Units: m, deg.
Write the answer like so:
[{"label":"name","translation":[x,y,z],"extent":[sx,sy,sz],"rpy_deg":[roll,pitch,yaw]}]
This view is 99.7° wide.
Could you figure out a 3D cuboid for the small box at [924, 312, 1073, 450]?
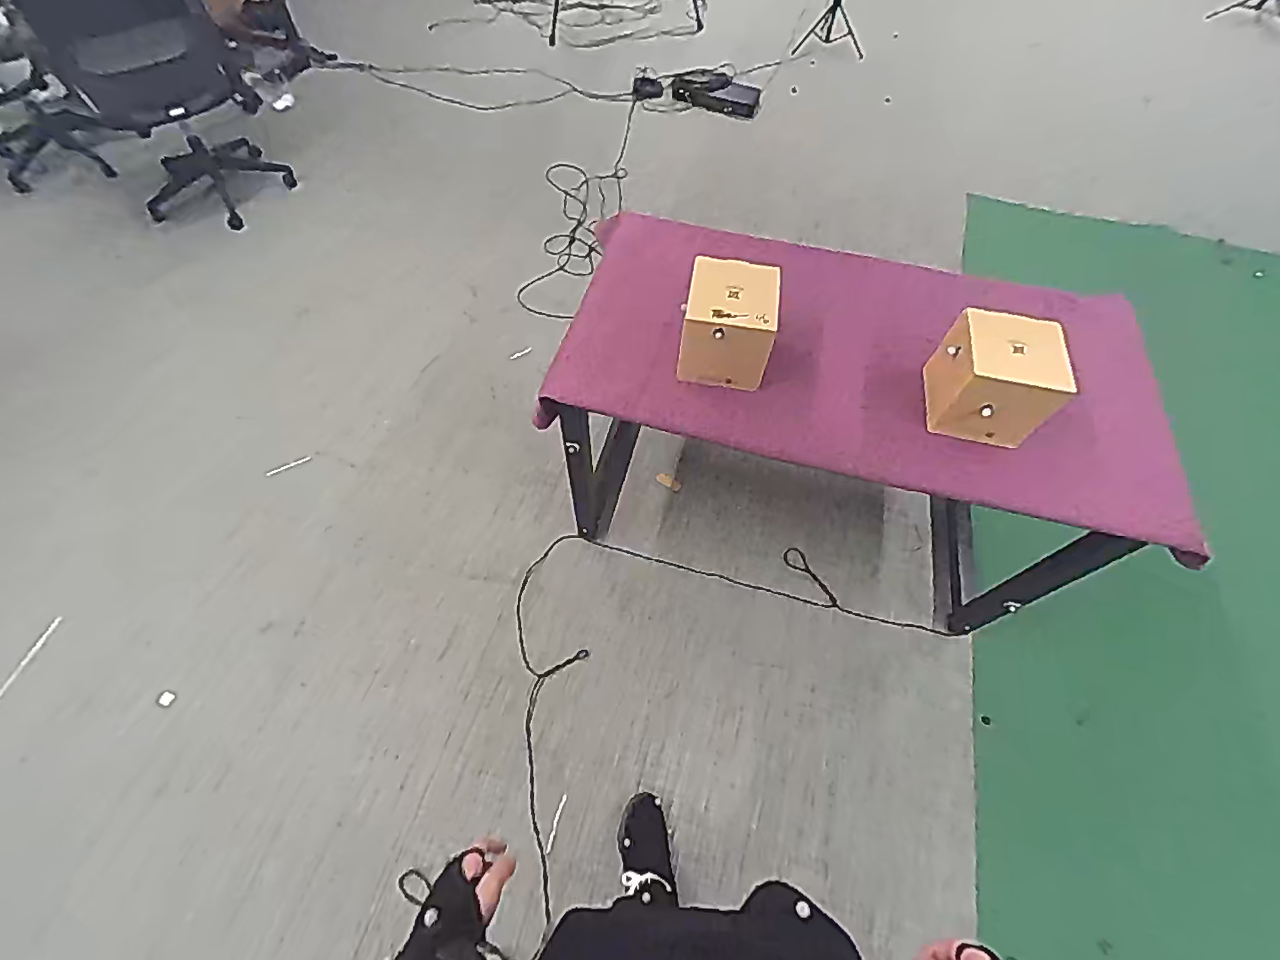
[{"label":"small box","translation":[0.651,-0.180,1.007],"extent":[0.168,0.176,0.179],"rpy_deg":[12,58,6]}]

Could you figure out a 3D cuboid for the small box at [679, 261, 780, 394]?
[{"label":"small box","translation":[0.171,-0.298,1.064],"extent":[0.168,0.176,0.179],"rpy_deg":[9,59,4]}]
